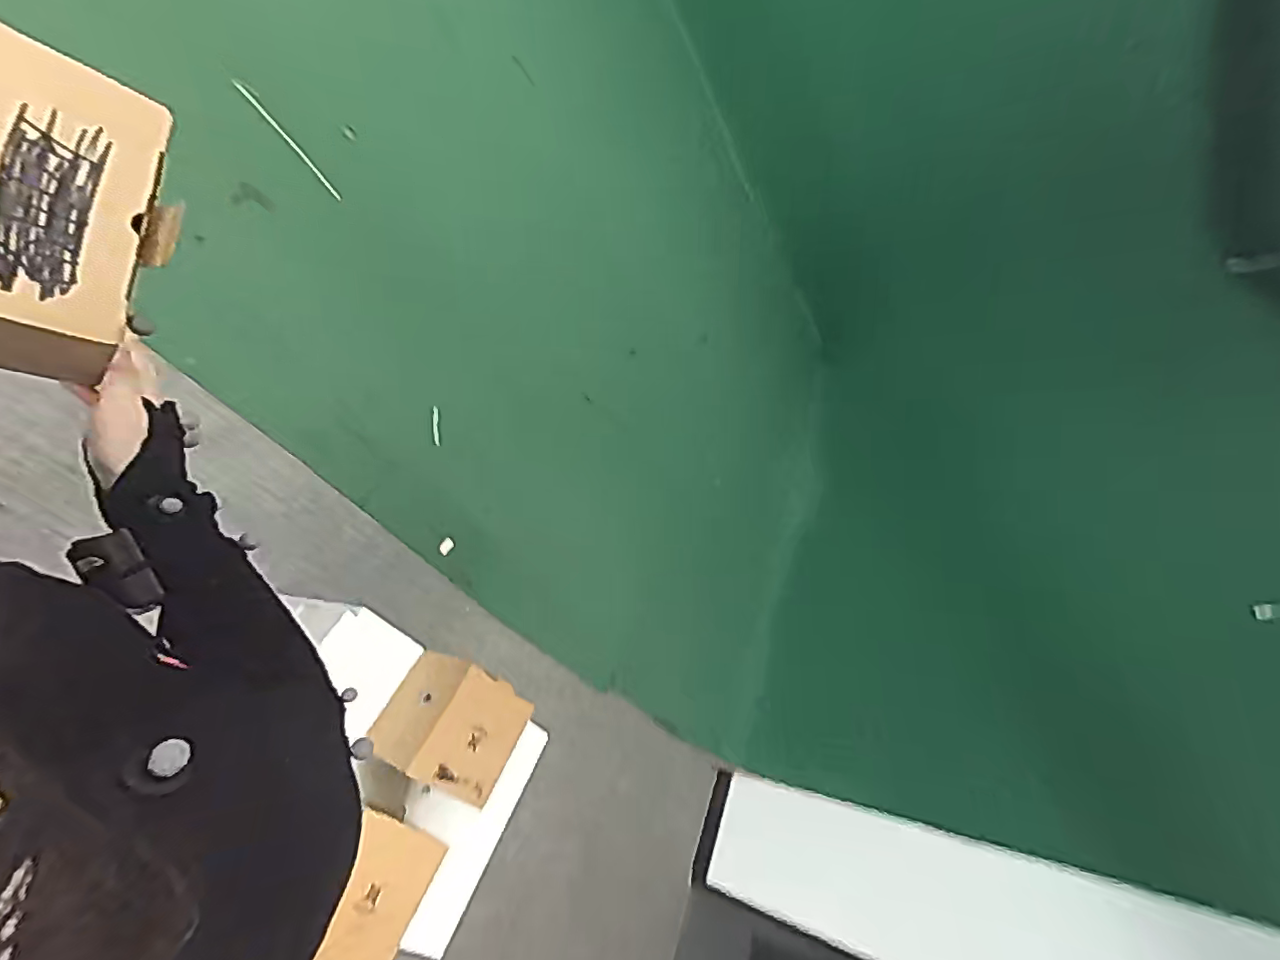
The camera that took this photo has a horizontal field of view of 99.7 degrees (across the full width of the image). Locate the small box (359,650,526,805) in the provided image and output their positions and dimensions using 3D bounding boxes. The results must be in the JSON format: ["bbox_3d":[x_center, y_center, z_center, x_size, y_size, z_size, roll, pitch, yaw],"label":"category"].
[{"bbox_3d":[-0.337,0.411,0.923,0.168,0.176,0.179,52,50,-32],"label":"small box"}]
